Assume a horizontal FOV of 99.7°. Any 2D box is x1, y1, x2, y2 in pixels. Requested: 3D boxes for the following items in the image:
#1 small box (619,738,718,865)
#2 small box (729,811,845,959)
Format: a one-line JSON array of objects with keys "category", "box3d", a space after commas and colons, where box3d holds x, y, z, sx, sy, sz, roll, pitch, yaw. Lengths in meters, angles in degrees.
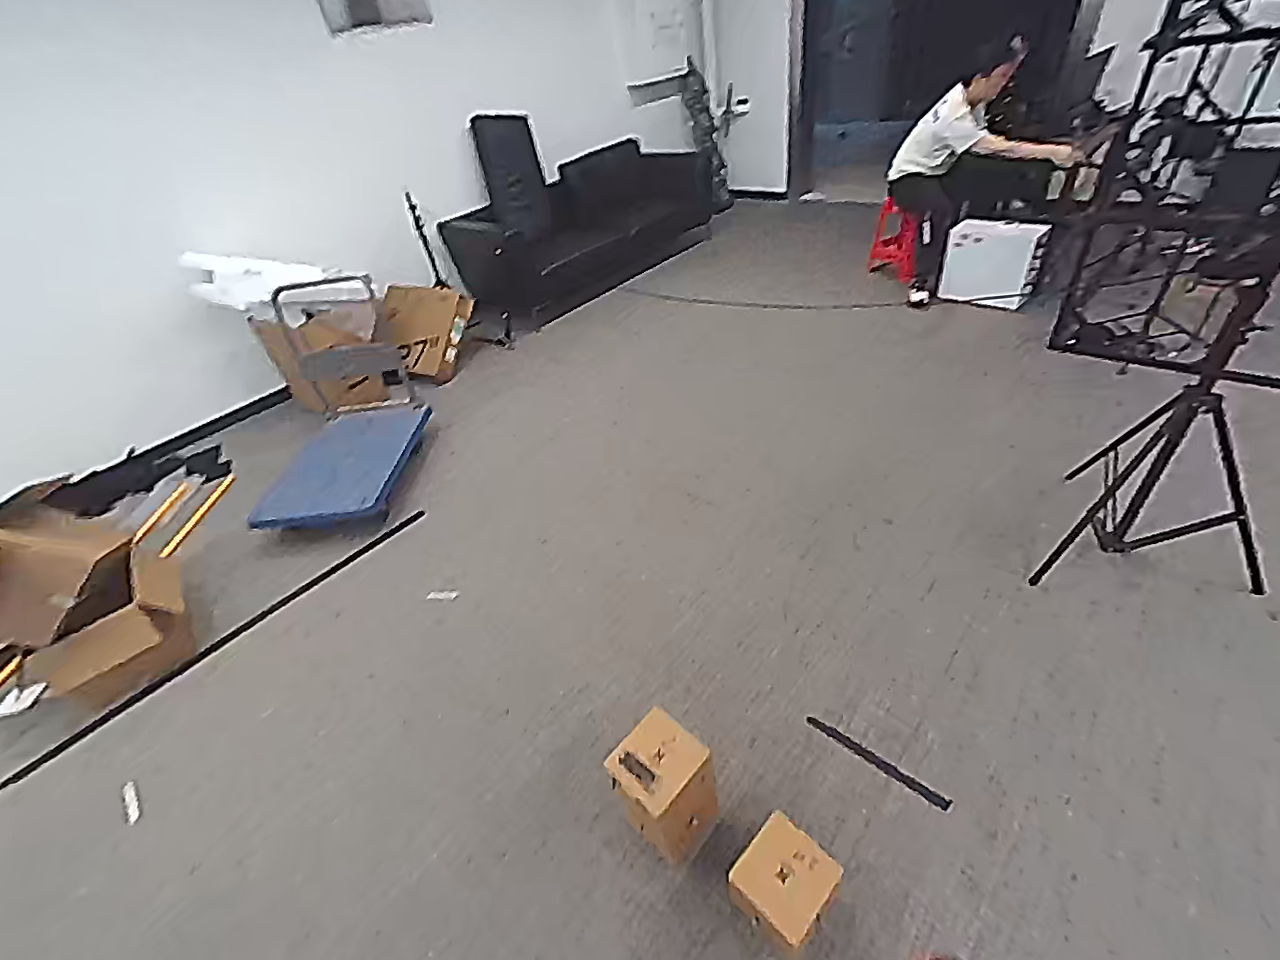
[{"category": "small box", "box3d": [0.075, 0.777, 1.310, 0.168, 0.176, 0.179, 27, 52, 38]}, {"category": "small box", "box3d": [0.310, 0.861, 1.143, 0.179, 0.176, 0.168, -36, 45, -29]}]
